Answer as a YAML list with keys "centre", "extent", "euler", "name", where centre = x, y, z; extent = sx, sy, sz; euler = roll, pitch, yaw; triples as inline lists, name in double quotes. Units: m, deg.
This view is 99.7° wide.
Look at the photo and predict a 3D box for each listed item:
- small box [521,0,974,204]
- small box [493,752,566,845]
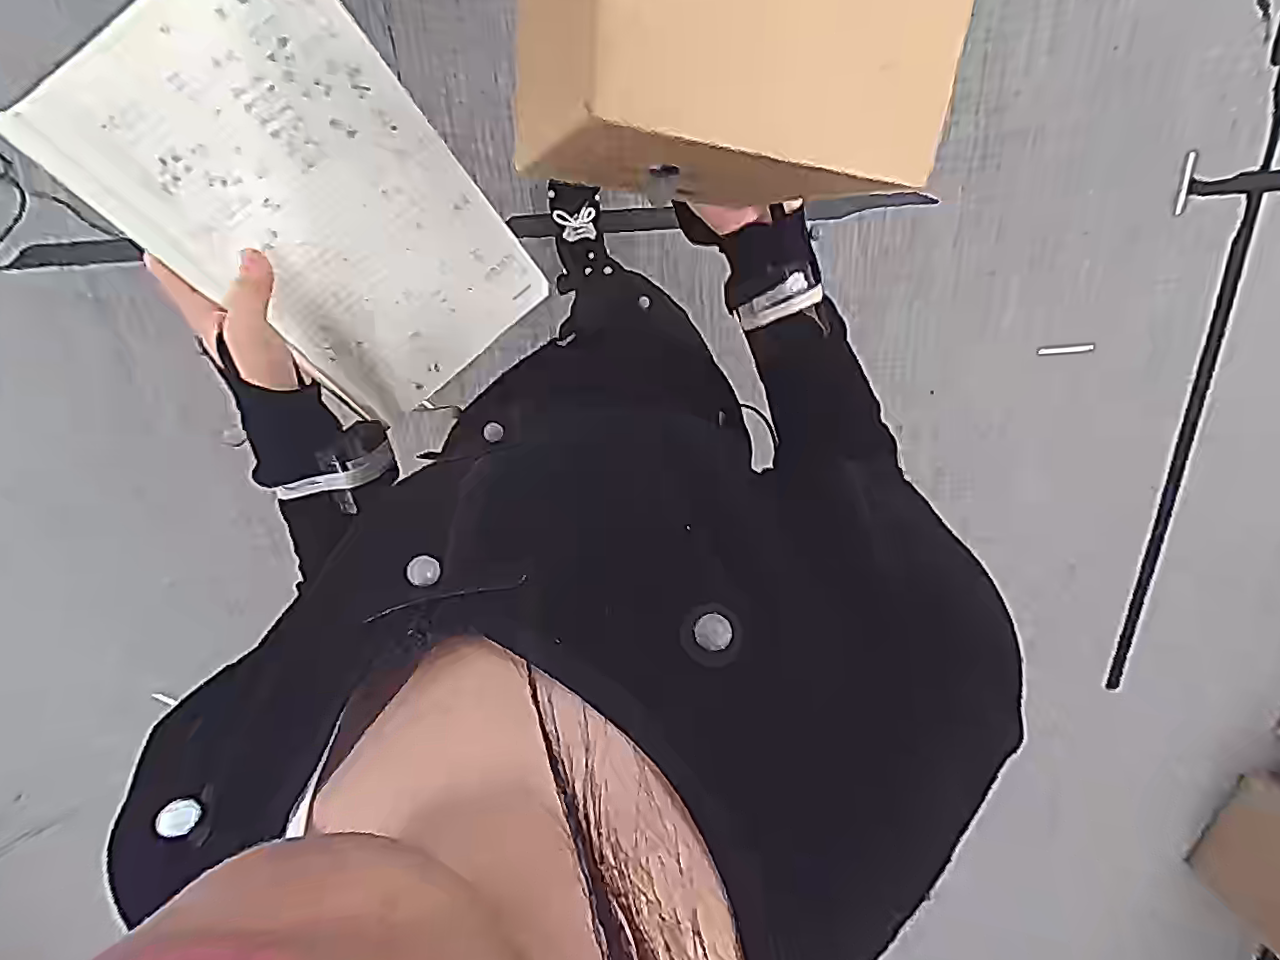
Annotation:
- centre: [0.038, -0.244, 0.262]
  extent: [0.168, 0.176, 0.179]
  euler: [-1, 112, -21]
  name: "small box"
- centre: [-0.283, 0.838, 1.415]
  extent: [0.168, 0.176, 0.179]
  euler: [0, 111, -3]
  name: "small box"
